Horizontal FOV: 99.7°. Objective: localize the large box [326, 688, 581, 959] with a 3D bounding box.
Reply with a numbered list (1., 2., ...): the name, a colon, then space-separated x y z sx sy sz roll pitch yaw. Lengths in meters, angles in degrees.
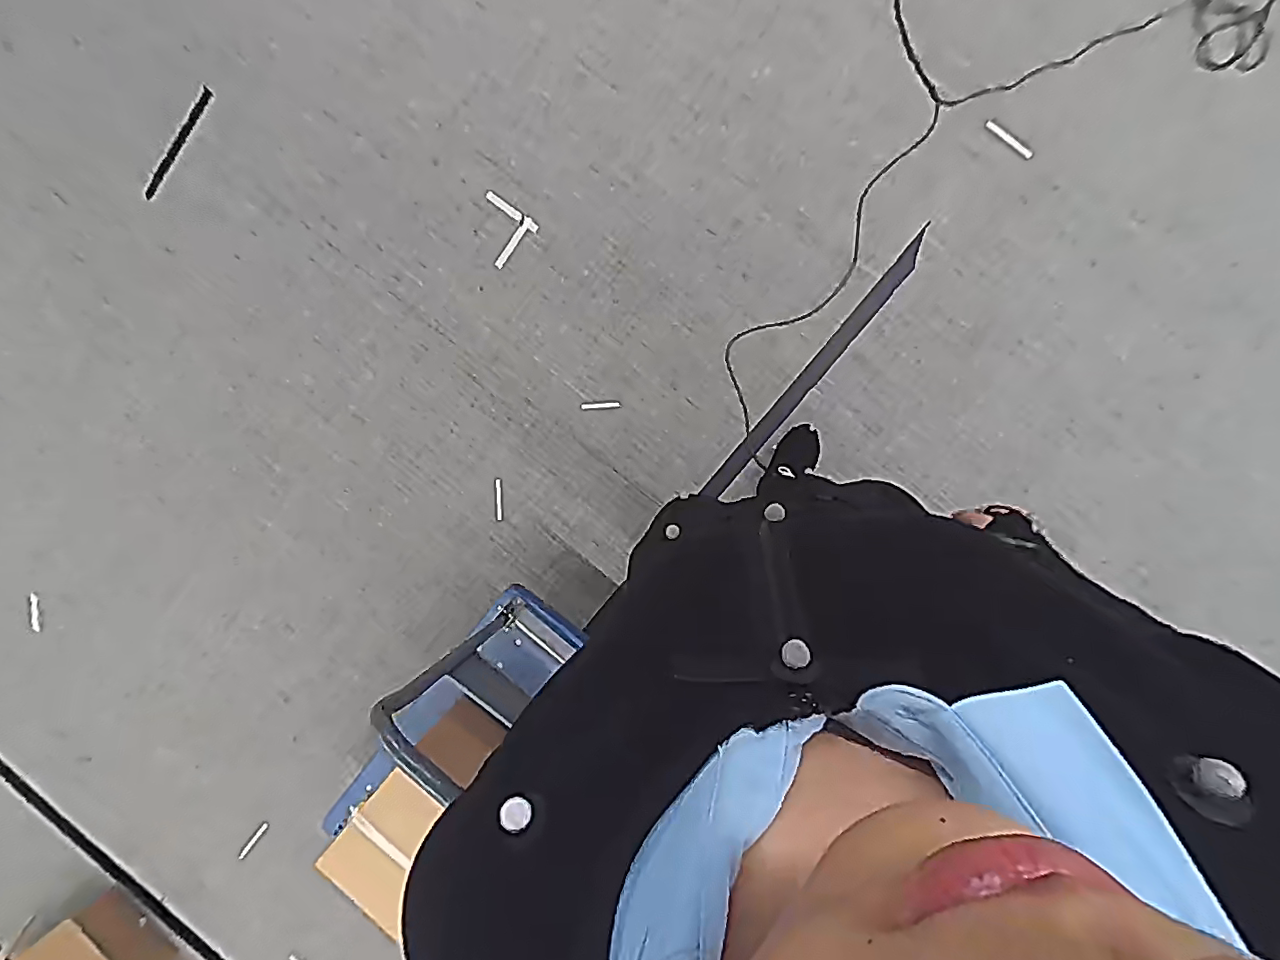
1. large box: -0.408 0.780 1.269 0.408 0.320 0.320 40 97 2
